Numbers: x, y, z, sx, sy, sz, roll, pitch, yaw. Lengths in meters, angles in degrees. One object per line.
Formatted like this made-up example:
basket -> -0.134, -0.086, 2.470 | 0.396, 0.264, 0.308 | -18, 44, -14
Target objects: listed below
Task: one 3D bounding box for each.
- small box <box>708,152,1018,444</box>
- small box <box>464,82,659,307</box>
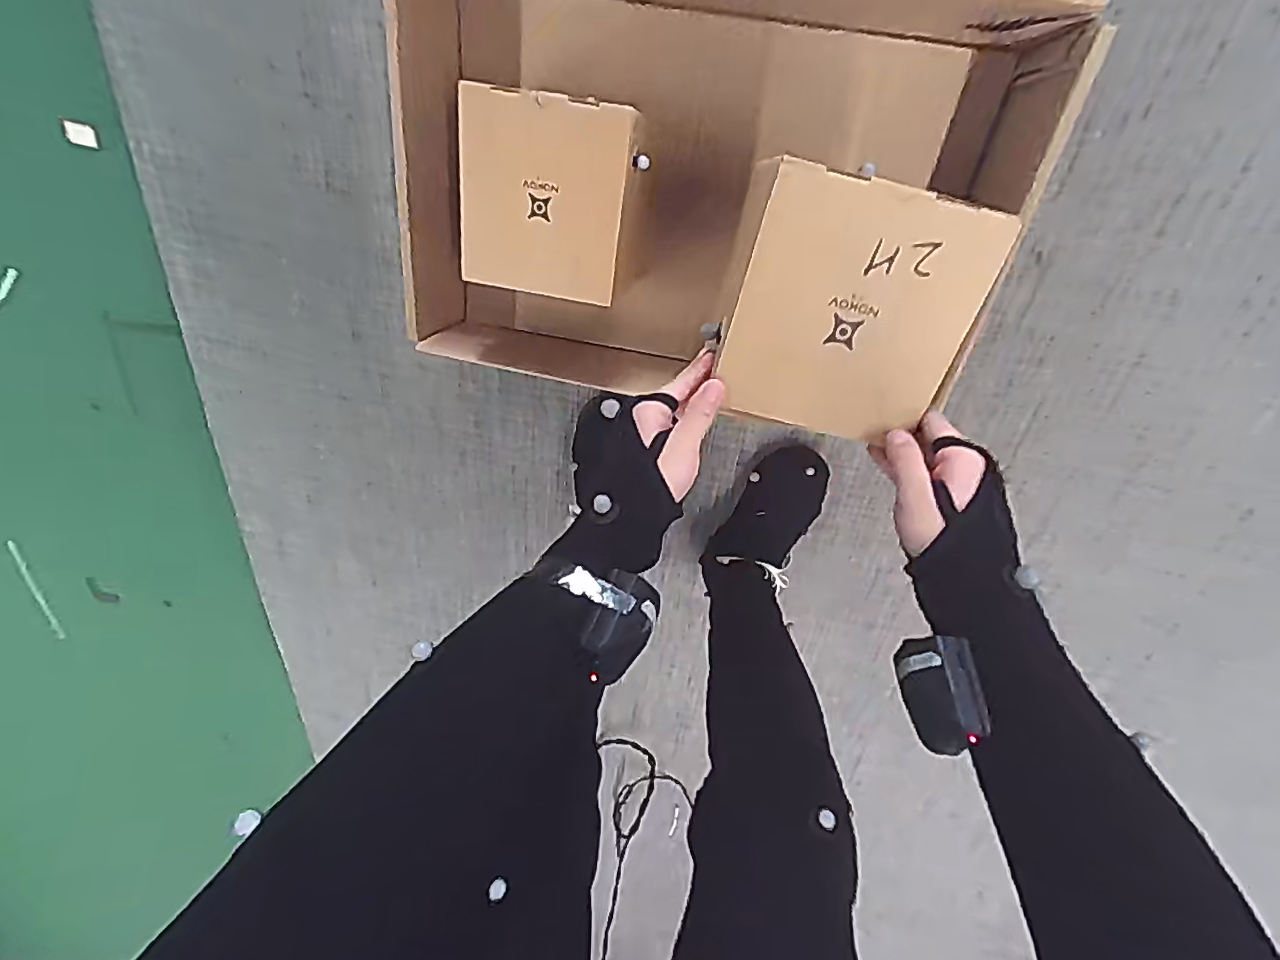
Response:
small box -> 0.161, -0.158, 0.464 | 0.168, 0.176, 0.179 | 14, 118, -2
small box -> -0.079, -0.307, 0.596 | 0.168, 0.176, 0.179 | 12, 118, 5
